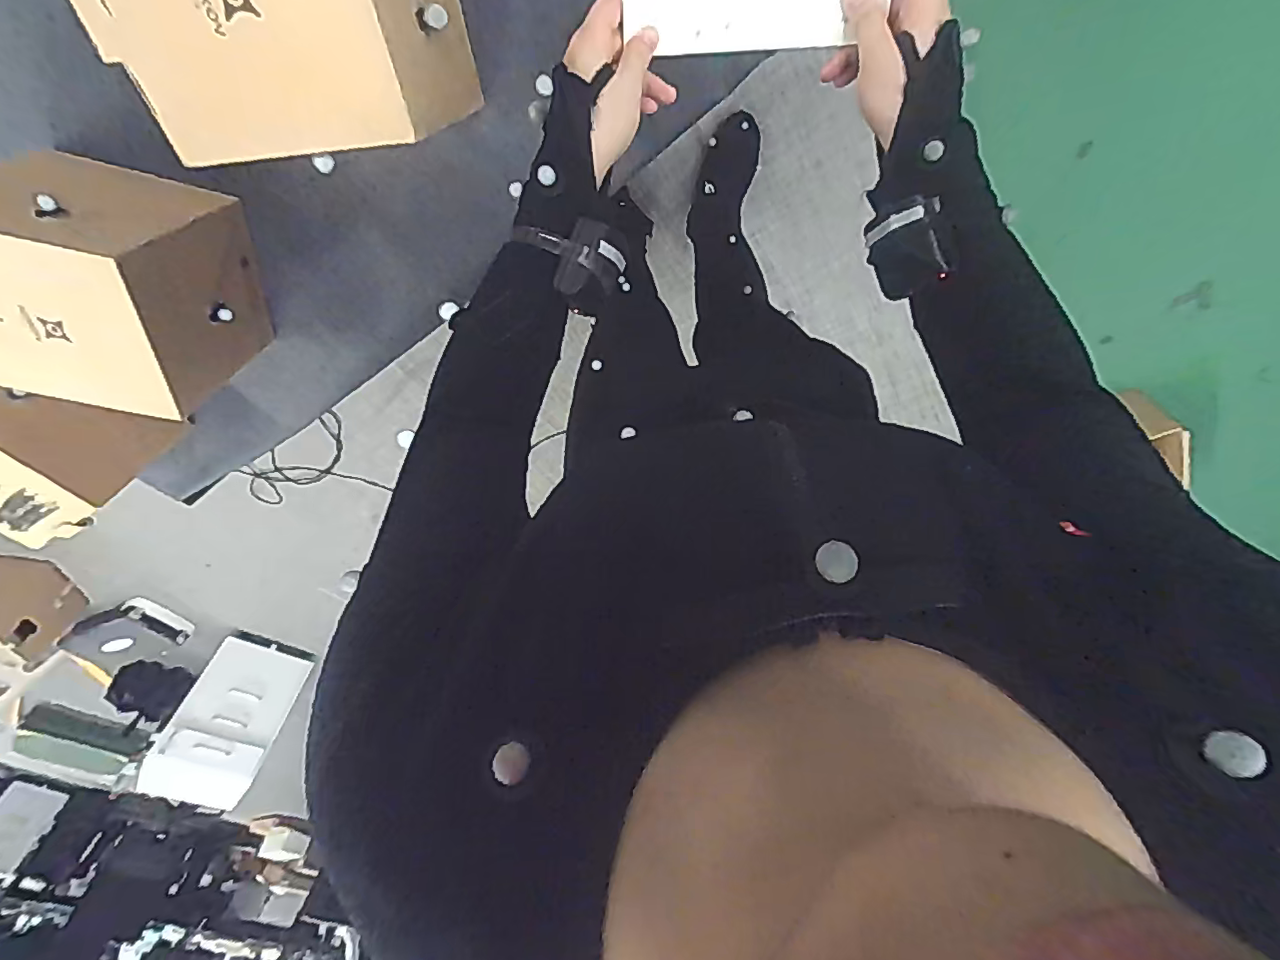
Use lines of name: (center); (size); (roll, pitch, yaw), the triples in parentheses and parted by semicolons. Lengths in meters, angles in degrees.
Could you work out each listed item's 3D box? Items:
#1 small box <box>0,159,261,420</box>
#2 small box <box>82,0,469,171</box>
small box: (-0.506, -0.187, 0.525); (0.179, 0.176, 0.168); (12, 132, -7)
small box: (-0.234, -0.332, 0.371); (0.179, 0.176, 0.168); (-2, 132, 7)
